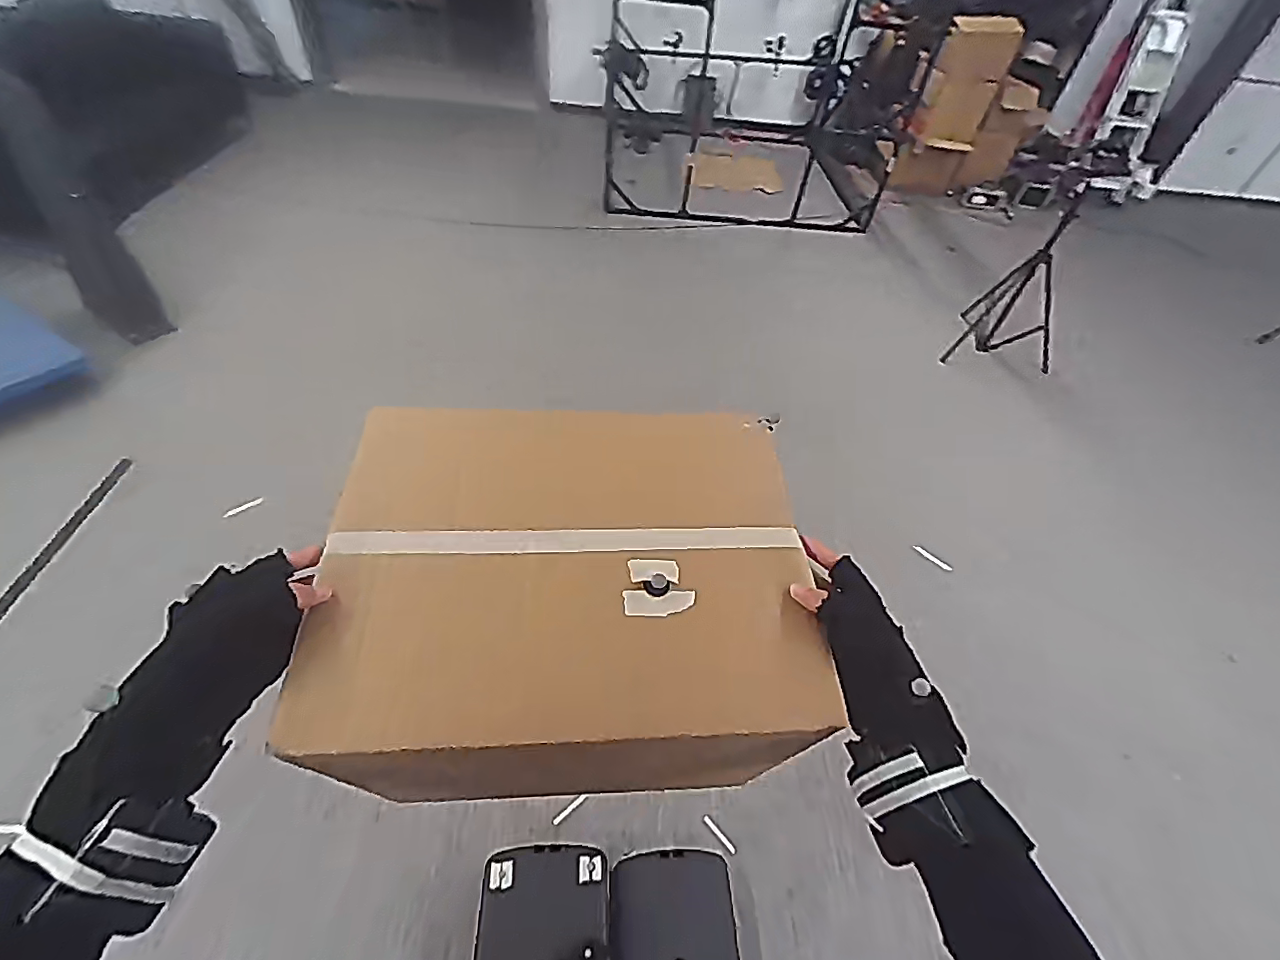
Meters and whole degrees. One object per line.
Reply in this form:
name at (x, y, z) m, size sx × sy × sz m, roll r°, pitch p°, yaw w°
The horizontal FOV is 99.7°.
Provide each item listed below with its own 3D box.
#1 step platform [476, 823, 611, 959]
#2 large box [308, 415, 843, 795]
step platform at (-0.200, 1.108, 1.109) m, size 0.286 × 0.204 × 0.684 m, roll 1°, pitch 47°, yaw -6°
large box at (-0.062, 0.145, 0.602) m, size 0.408 × 0.320 × 0.320 m, roll 1°, pitch 55°, yaw -7°
